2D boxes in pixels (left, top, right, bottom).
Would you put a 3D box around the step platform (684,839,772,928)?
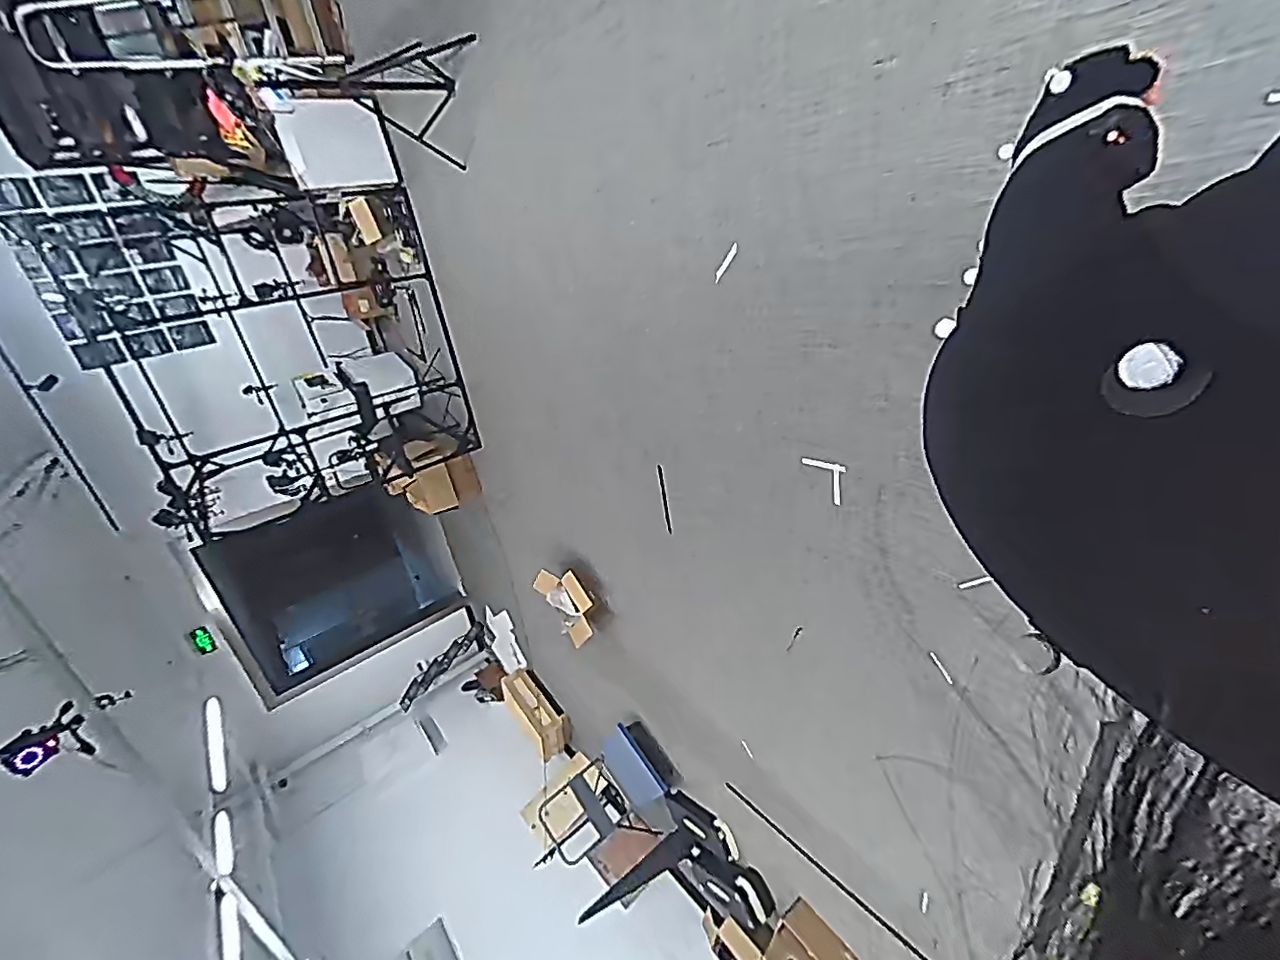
[{"bbox_3d":[0.592,2.812,3.786,0.684,0.204,0.286,-24,92,57],"label":"step platform"}]
